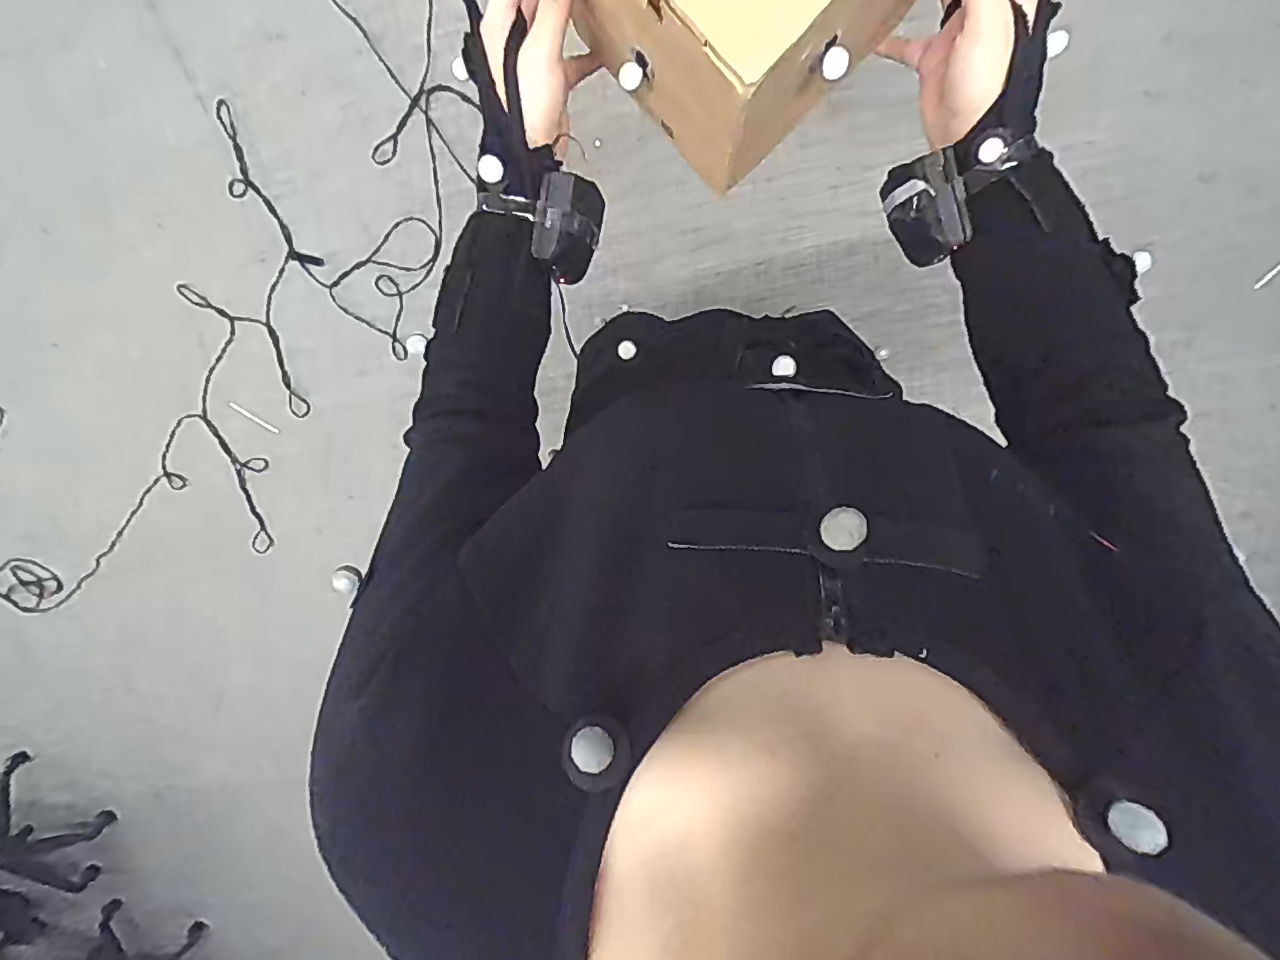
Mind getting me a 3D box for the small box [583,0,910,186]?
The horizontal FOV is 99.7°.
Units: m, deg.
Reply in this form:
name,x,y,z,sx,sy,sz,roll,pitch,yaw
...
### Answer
name,x,y,z,sx,sy,sz,roll,pitch,yaw
small box,0.067,-0.319,0.323,0.179,0.176,0.168,-42,95,12
